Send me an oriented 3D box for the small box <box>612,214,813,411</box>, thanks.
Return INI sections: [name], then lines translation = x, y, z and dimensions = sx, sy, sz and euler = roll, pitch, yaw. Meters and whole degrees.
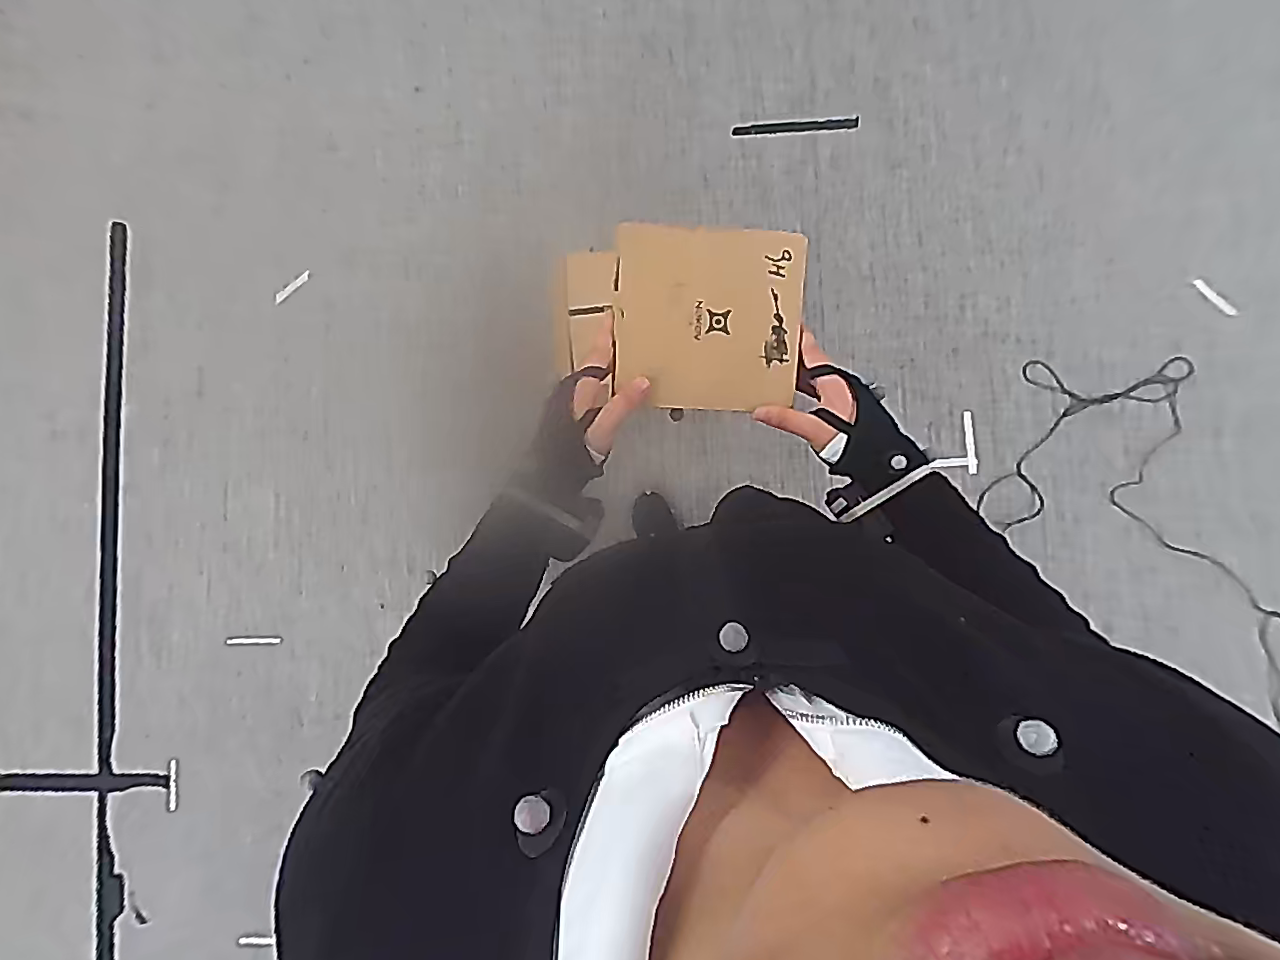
[small box]
translation = 0.061, -0.160, 0.569
dimensions = 0.179, 0.176, 0.168
euler = 2, 97, -4
